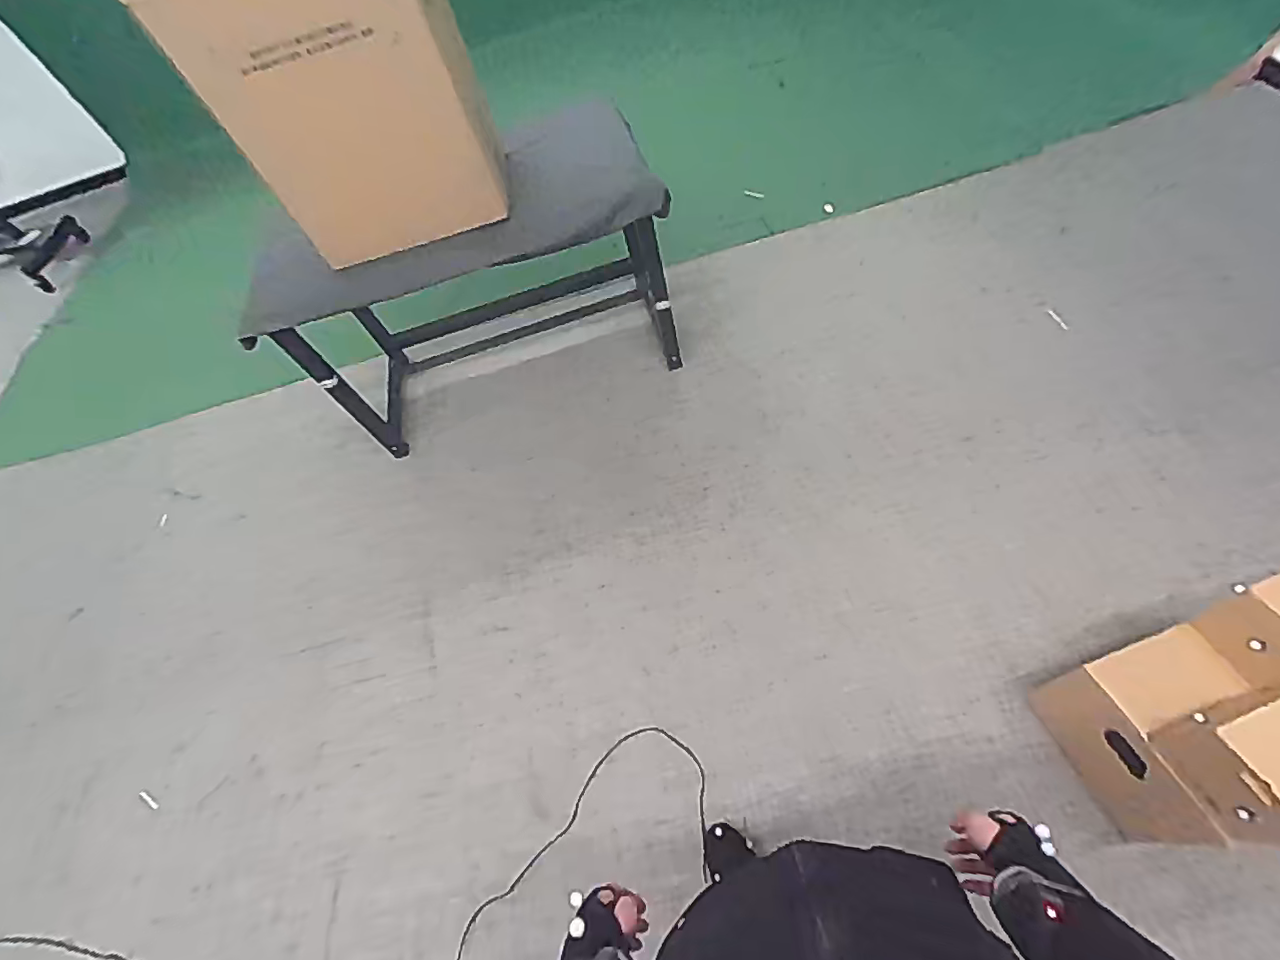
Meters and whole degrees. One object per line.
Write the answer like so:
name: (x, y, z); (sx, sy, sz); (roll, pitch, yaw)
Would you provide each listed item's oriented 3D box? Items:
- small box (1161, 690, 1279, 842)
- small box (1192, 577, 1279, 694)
small box: (0.998, 0.453, 0.858); (0.179, 0.176, 0.168); (-24, 59, -4)
small box: (1.150, 0.270, 0.938); (0.168, 0.176, 0.179); (-21, 53, 0)
